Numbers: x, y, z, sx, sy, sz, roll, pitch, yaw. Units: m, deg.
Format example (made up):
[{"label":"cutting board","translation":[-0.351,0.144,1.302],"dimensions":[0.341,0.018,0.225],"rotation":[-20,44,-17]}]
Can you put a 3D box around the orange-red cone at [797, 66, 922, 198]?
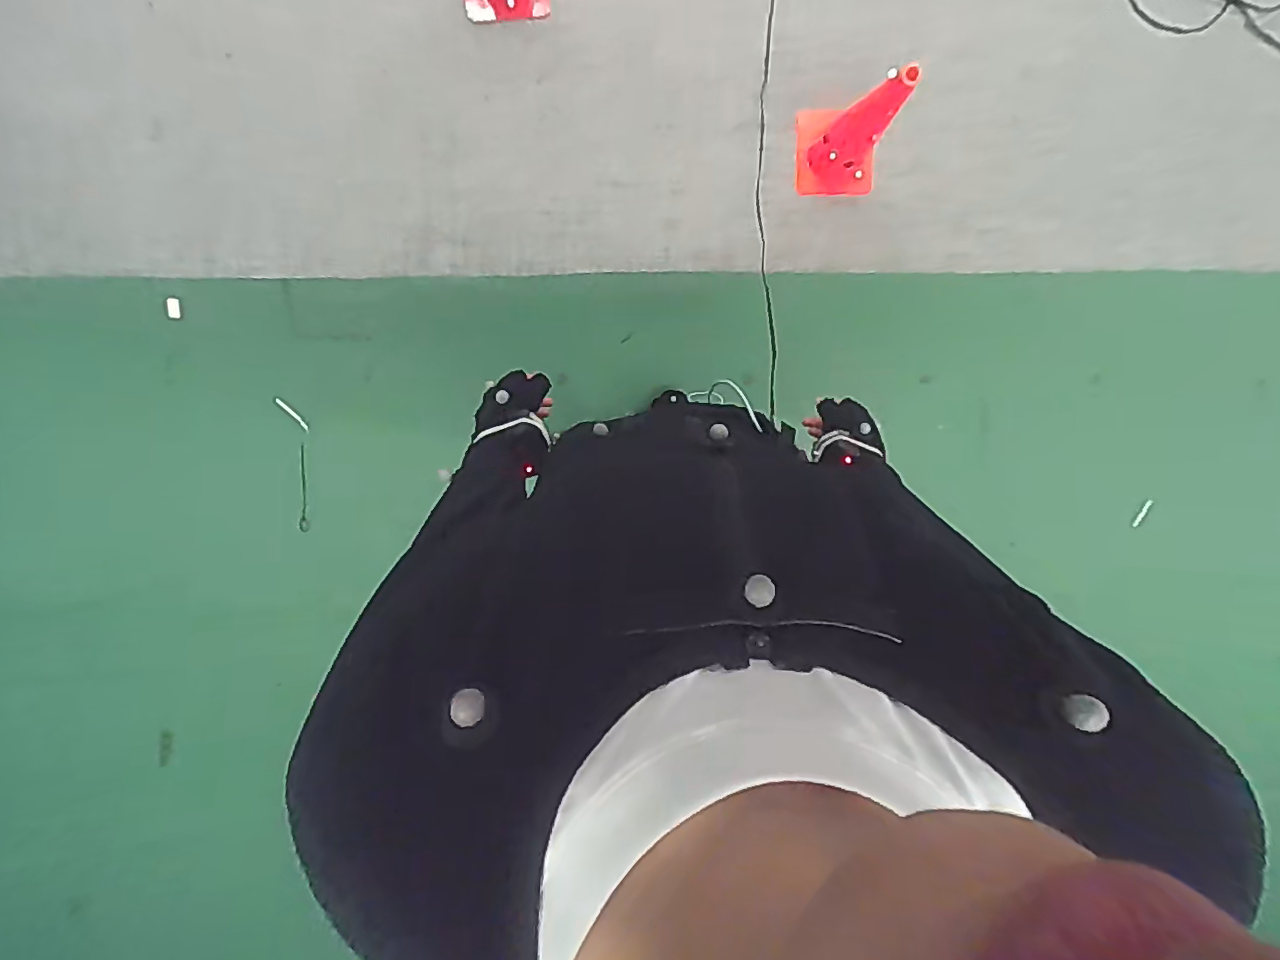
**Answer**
[{"label":"orange-red cone","translation":[0.507,-0.799,1.201],"dimensions":[0.198,0.360,0.199],"rotation":[-1,98,-4]}]

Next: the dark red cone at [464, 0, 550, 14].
[{"label":"dark red cone","translation":[-0.304,-1.153,1.075],"dimensions":[0.202,0.394,0.201],"rotation":[-7,101,-2]}]
